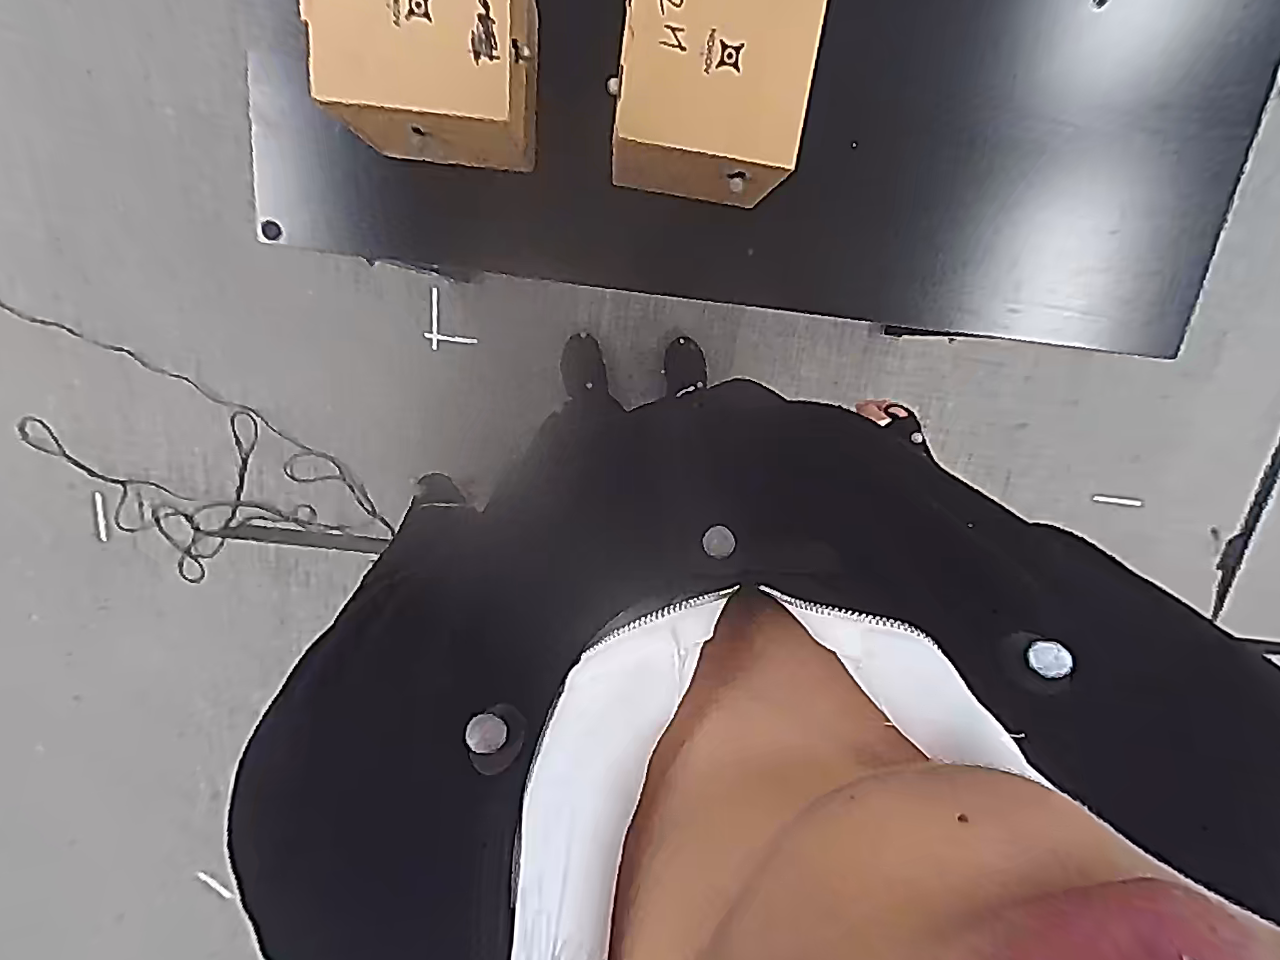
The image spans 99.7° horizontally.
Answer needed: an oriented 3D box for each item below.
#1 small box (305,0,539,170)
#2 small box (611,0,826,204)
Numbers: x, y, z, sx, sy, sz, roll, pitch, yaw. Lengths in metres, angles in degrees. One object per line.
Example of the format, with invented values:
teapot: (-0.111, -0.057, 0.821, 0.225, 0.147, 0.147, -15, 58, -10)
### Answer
small box: (-0.204, -0.431, 0.544, 0.179, 0.176, 0.168, 4, 105, -4)
small box: (0.067, -0.404, 0.564, 0.179, 0.176, 0.168, 7, 104, -4)
